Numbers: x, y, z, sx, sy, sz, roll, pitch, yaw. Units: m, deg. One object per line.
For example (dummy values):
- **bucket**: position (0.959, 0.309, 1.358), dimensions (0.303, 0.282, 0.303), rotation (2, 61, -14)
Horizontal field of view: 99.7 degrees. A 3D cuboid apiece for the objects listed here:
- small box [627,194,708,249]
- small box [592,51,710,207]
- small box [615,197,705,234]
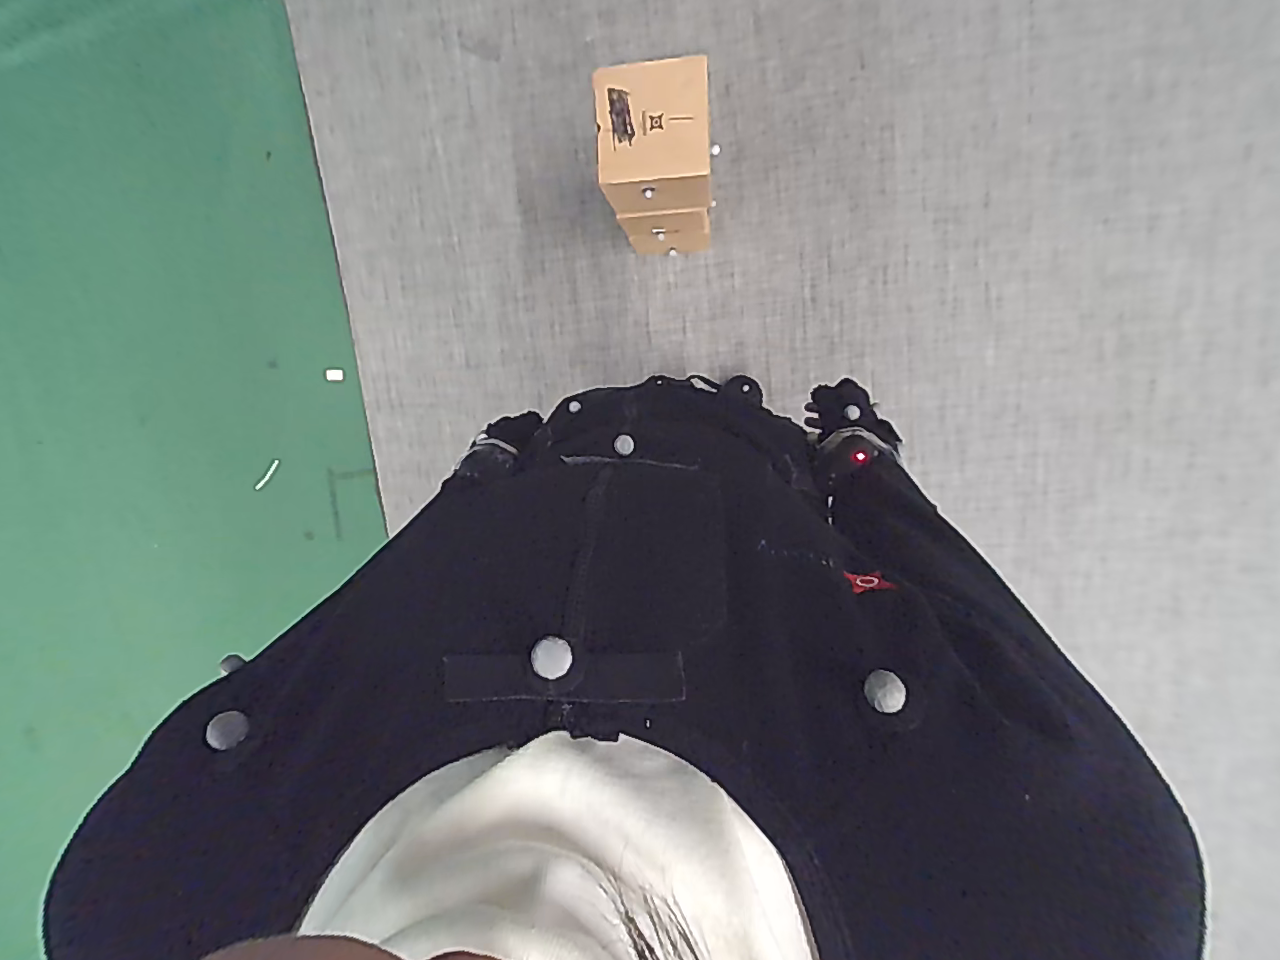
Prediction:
- **small box**: position (0.065, -0.630, 1.225), dimensions (0.179, 0.176, 0.168), rotation (0, 101, 7)
- **small box**: position (0.027, -0.572, 0.906), dimensions (0.179, 0.176, 0.168), rotation (0, 101, 8)
- **small box**: position (0.042, -0.604, 1.067), dimensions (0.168, 0.176, 0.179), rotation (-1, 102, 10)
